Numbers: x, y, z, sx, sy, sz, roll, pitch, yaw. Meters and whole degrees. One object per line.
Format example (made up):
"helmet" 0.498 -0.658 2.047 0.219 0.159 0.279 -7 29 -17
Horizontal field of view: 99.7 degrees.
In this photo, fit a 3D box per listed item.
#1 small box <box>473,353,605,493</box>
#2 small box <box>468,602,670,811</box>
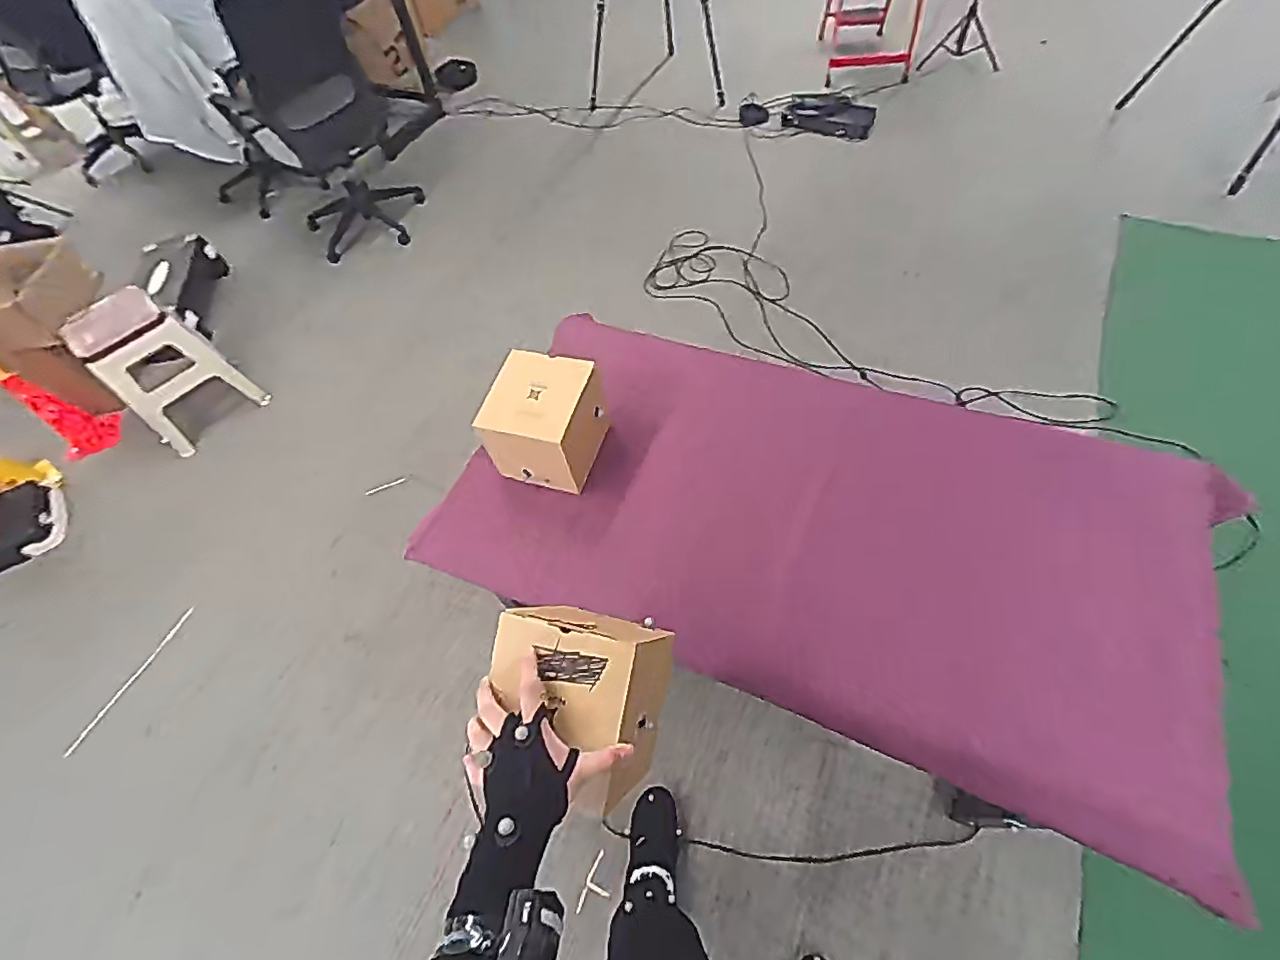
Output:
"small box" -0.173 -0.103 0.995 0.168 0.176 0.179 12 61 15
"small box" -0.072 0.250 0.652 0.168 0.176 0.179 9 83 21
